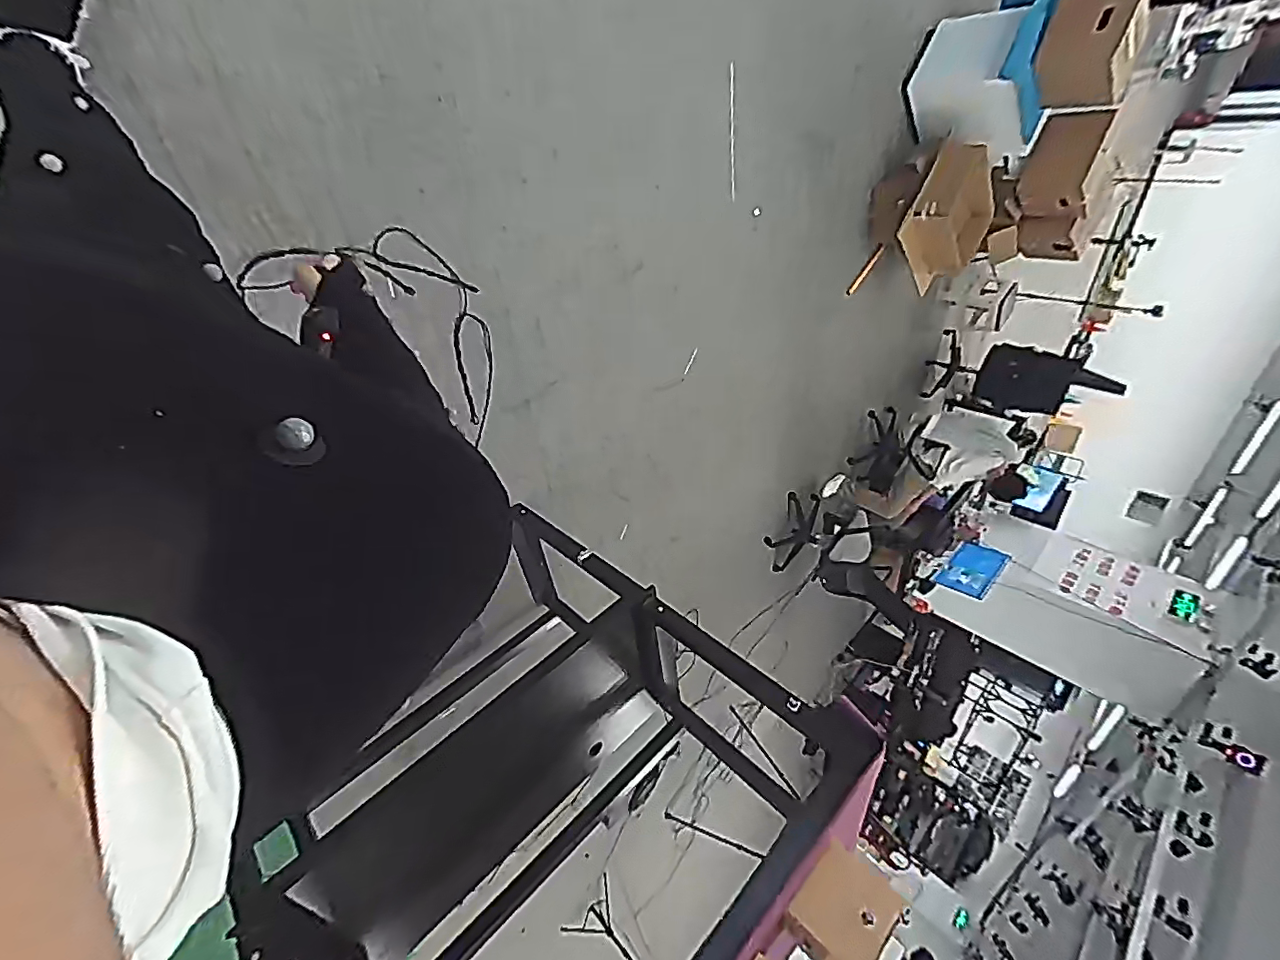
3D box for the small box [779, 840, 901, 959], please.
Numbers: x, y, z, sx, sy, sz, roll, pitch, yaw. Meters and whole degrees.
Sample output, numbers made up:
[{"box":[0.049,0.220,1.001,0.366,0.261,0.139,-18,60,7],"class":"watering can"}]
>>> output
[{"box":[0.412,0.906,1.128,0.179,0.176,0.168,-35,134,-29],"class":"small box"}]
